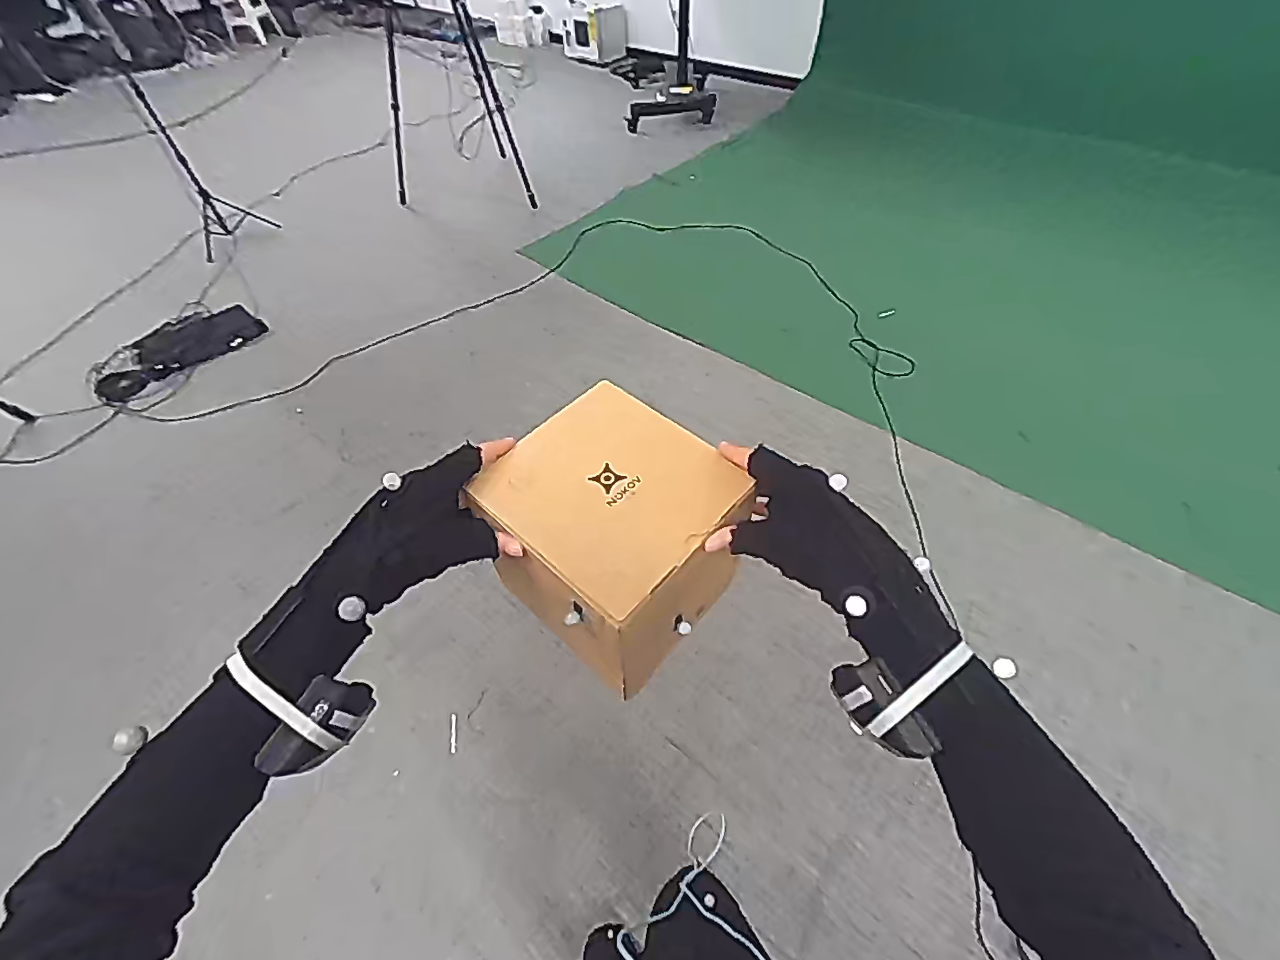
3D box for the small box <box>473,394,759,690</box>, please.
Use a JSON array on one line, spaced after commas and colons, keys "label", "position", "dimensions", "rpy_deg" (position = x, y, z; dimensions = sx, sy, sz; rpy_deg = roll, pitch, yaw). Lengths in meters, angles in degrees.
[{"label": "small box", "position": [-0.021, 0.059, 0.499], "dimensions": [0.179, 0.176, 0.168], "rpy_deg": [36, 59, 25]}]
